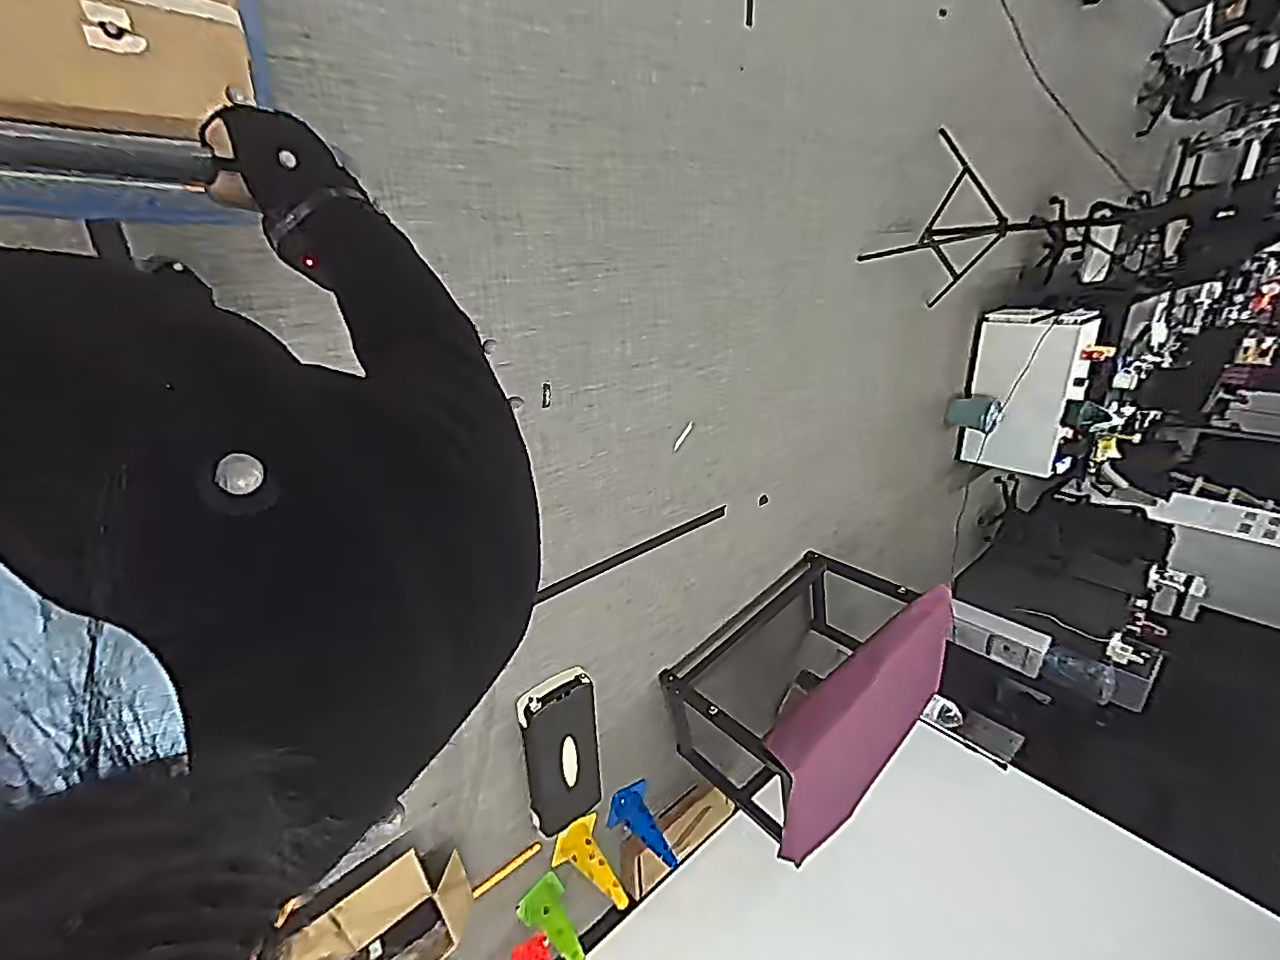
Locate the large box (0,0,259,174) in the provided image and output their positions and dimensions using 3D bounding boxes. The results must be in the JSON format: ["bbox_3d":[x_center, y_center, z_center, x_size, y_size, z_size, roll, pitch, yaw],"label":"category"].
[{"bbox_3d":[-0.808,-0.626,0.727,0.408,0.320,0.320,-17,116,-38],"label":"large box"}]
